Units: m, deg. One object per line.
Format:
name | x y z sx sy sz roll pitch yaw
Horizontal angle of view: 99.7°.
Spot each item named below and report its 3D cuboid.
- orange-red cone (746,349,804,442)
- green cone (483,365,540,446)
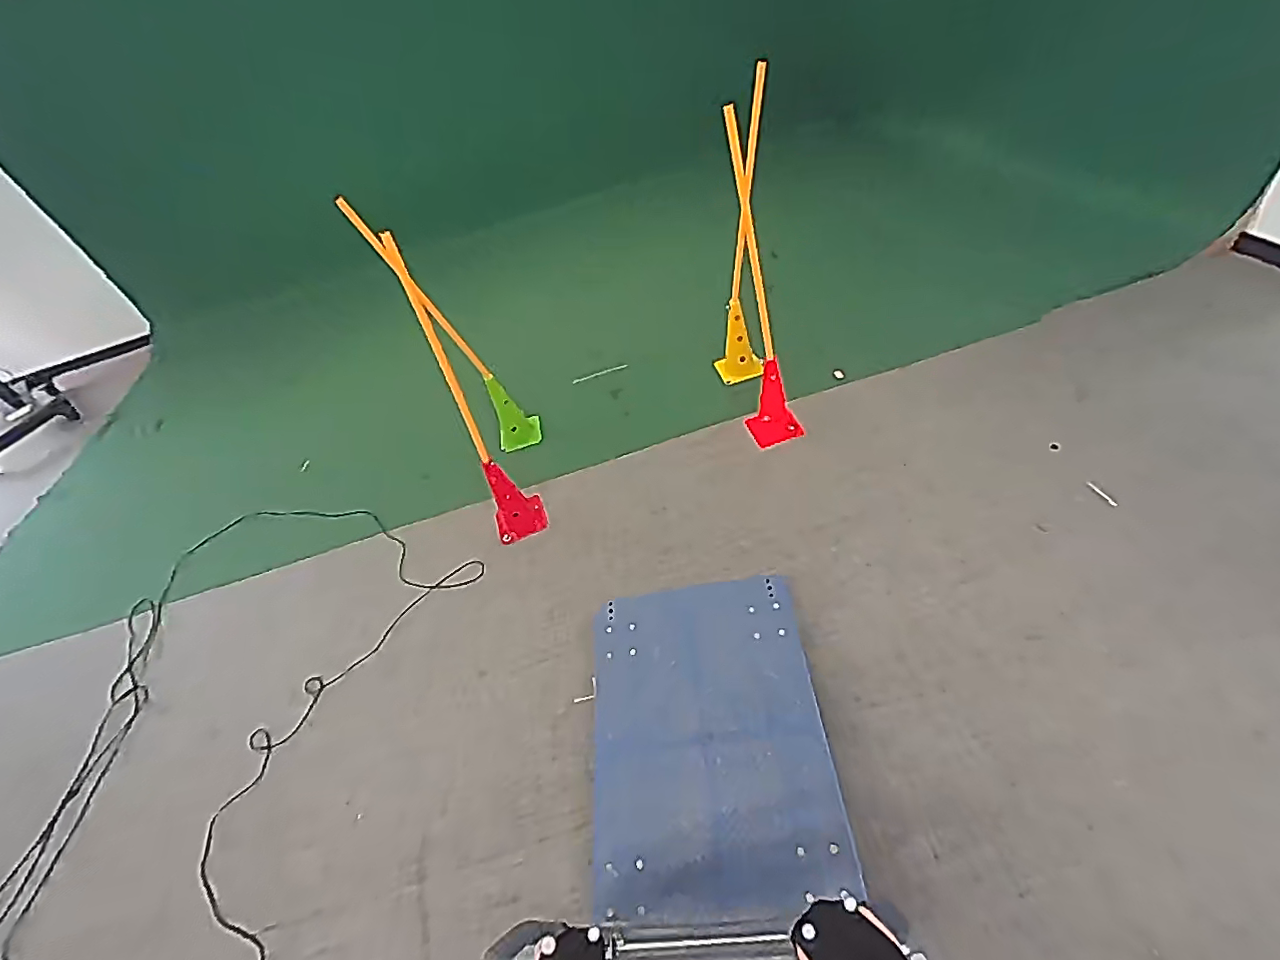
orange-red cone | 0.522 -0.357 2.130 0.198 0.360 0.199 -17 44 0
green cone | -0.619 -0.363 2.468 0.200 0.368 0.202 -18 45 1
